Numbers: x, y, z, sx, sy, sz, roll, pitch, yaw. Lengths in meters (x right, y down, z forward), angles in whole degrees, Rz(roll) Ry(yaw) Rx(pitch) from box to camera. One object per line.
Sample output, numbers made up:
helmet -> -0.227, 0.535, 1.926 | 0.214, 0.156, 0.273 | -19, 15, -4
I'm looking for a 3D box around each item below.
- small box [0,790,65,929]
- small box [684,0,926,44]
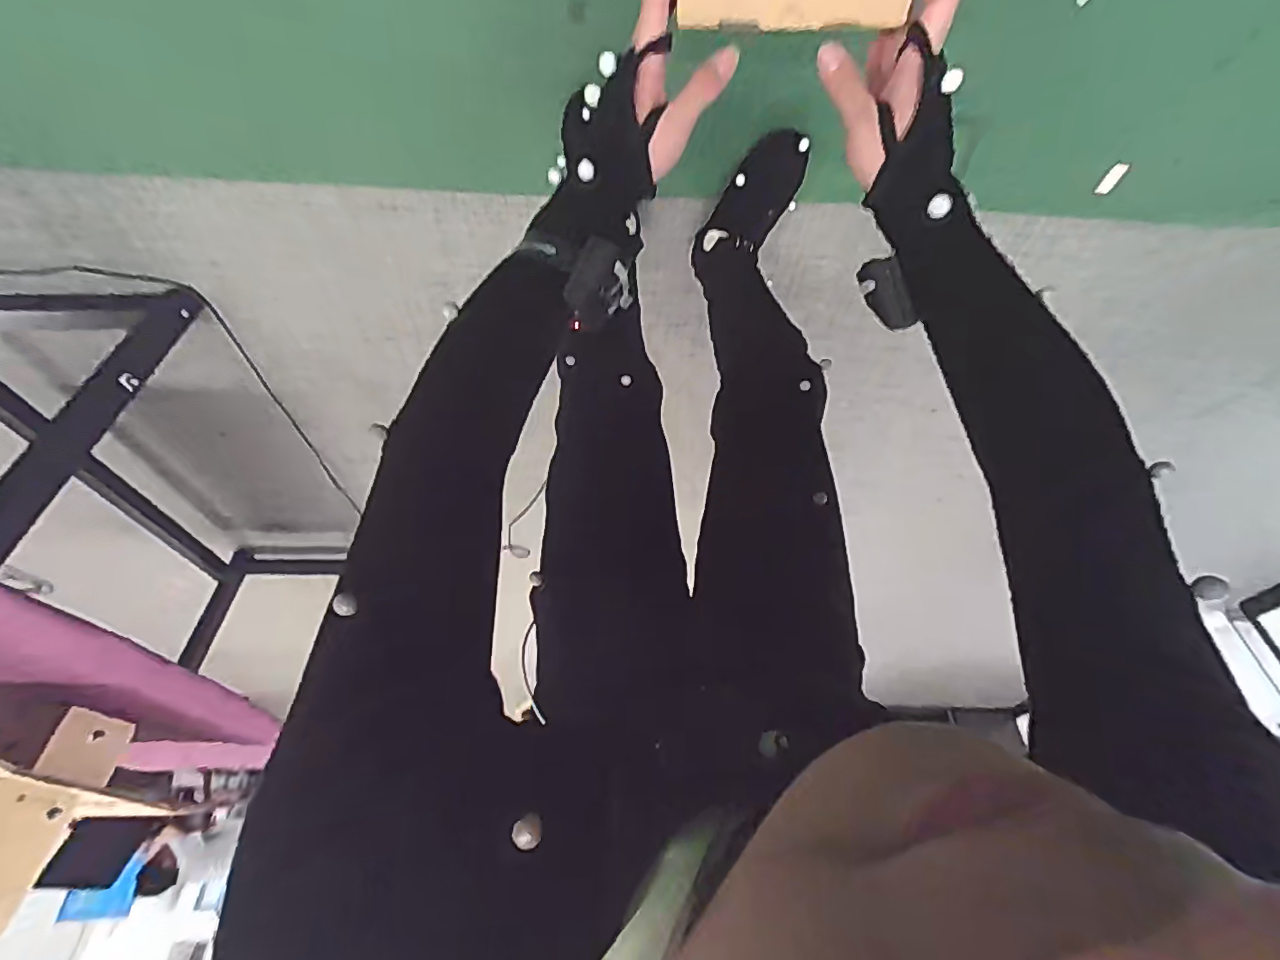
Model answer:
small box -> -1.064, 0.583, 0.833 | 0.179, 0.176, 0.168 | 0, 140, 1
small box -> 0.116, -0.431, 0.386 | 0.168, 0.176, 0.179 | 1, 134, 2
